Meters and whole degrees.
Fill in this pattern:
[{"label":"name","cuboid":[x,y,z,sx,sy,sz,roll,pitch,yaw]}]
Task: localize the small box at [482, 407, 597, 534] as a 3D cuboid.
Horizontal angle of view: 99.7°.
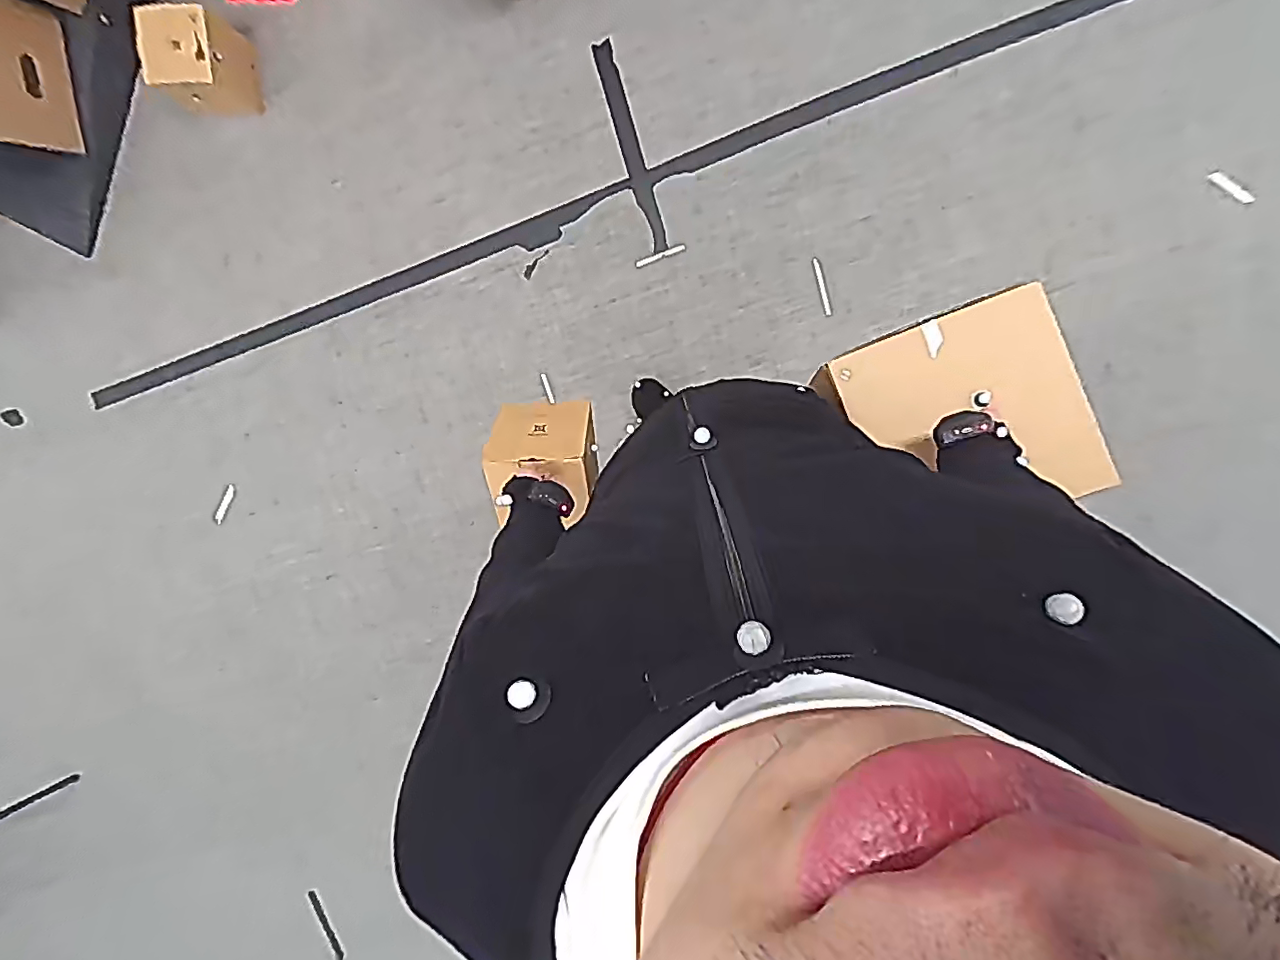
[{"label":"small box","cuboid":[-0.169,-0.014,0.980,0.168,0.179,0.176,-2,128,1]}]
